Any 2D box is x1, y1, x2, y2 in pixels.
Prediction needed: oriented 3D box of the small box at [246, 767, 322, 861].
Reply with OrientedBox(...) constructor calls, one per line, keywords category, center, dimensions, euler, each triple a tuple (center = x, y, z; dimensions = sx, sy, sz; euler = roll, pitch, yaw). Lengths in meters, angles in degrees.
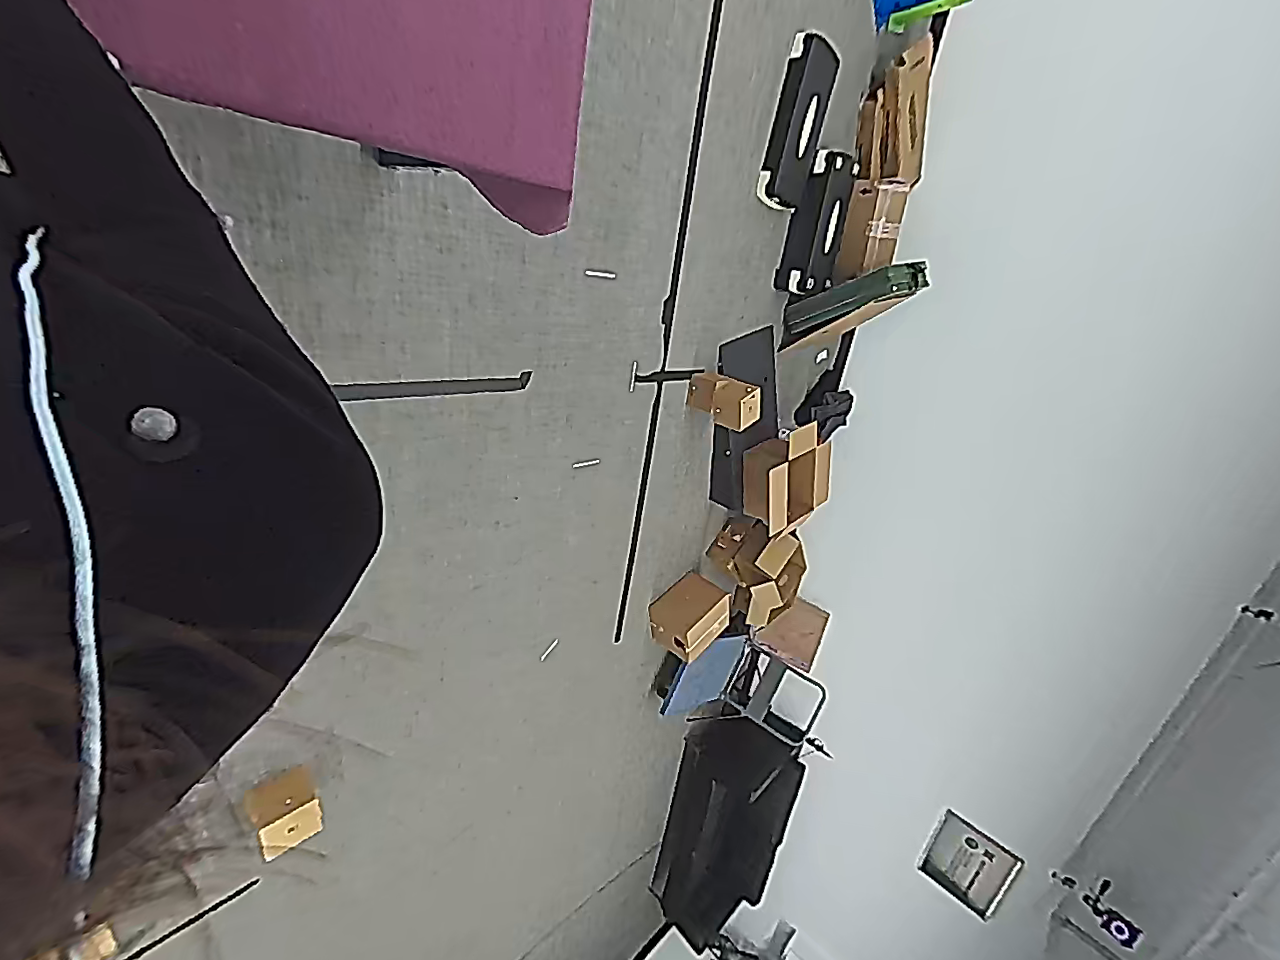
OrientedBox(category="small box", center=(-1.228, 1.143, 1.861), dimensions=(0.179, 0.176, 0.168), euler=(-18, 124, -45))
